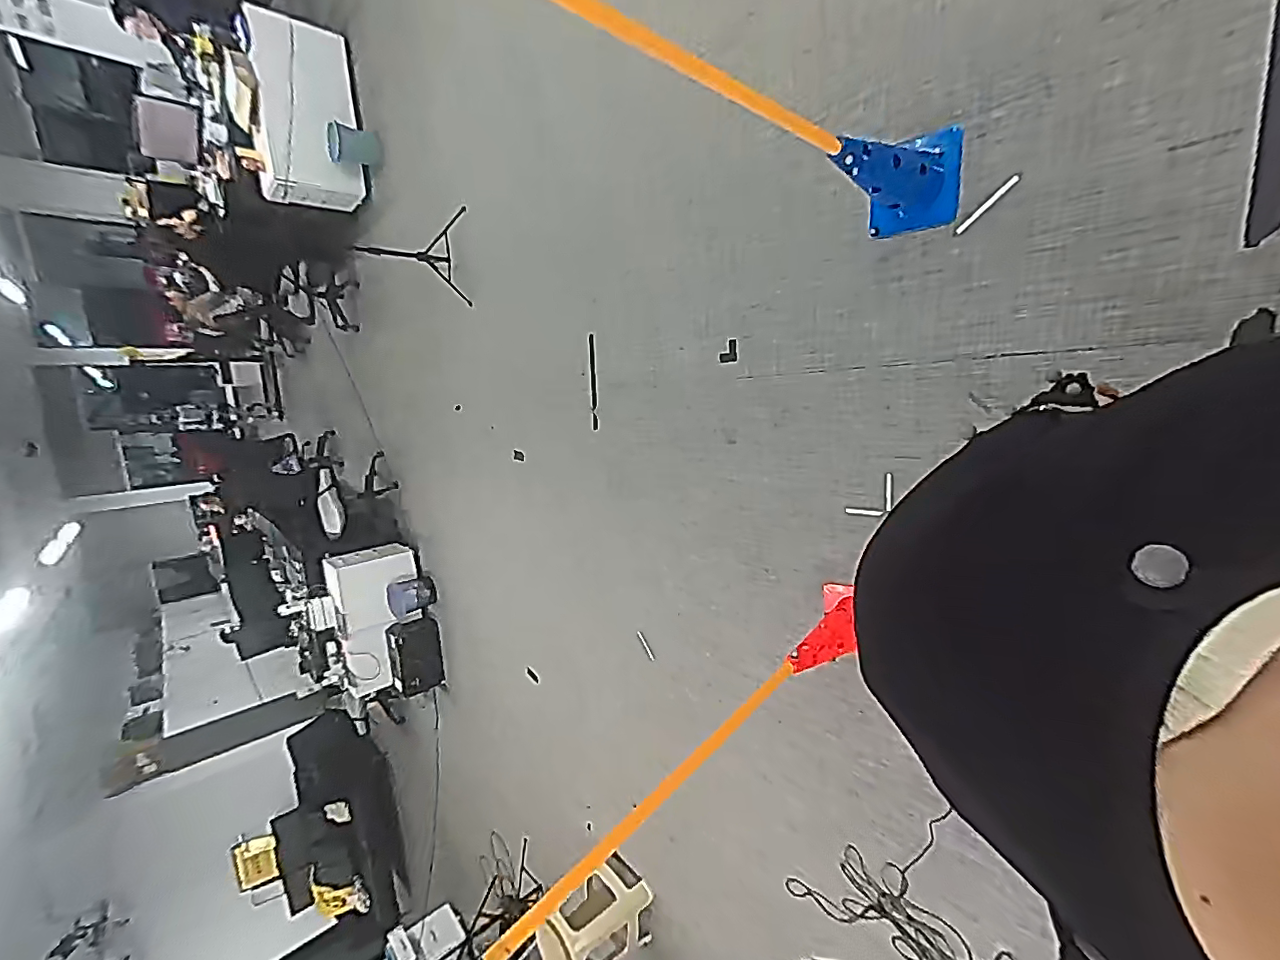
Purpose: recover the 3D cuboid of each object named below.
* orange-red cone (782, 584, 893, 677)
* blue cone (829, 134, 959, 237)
[{"bbox_3d":[0.486,0.424,1.412,0.199,0.360,0.198,0,99,48],"label":"orange-red cone"},{"bbox_3d":[0.513,-0.654,1.148,0.193,0.380,0.192,12,108,47],"label":"blue cone"}]
